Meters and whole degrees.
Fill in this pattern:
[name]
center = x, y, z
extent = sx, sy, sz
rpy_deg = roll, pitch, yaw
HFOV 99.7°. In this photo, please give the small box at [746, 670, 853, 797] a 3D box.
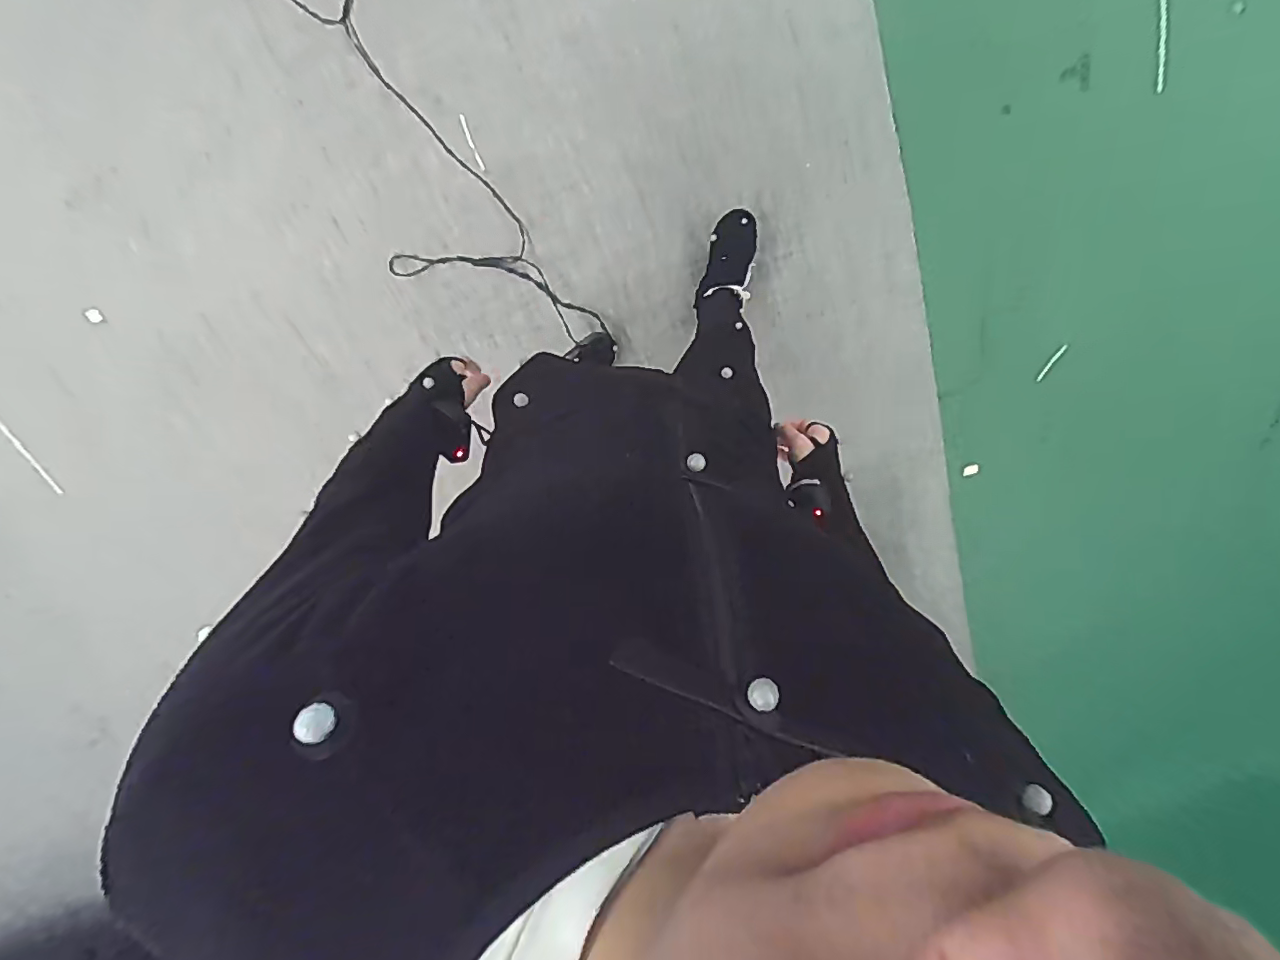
[small box]
center = 0.340, 0.539, 1.177
extent = 0.168, 0.176, 0.179
rpy_deg = -16, 110, 4
